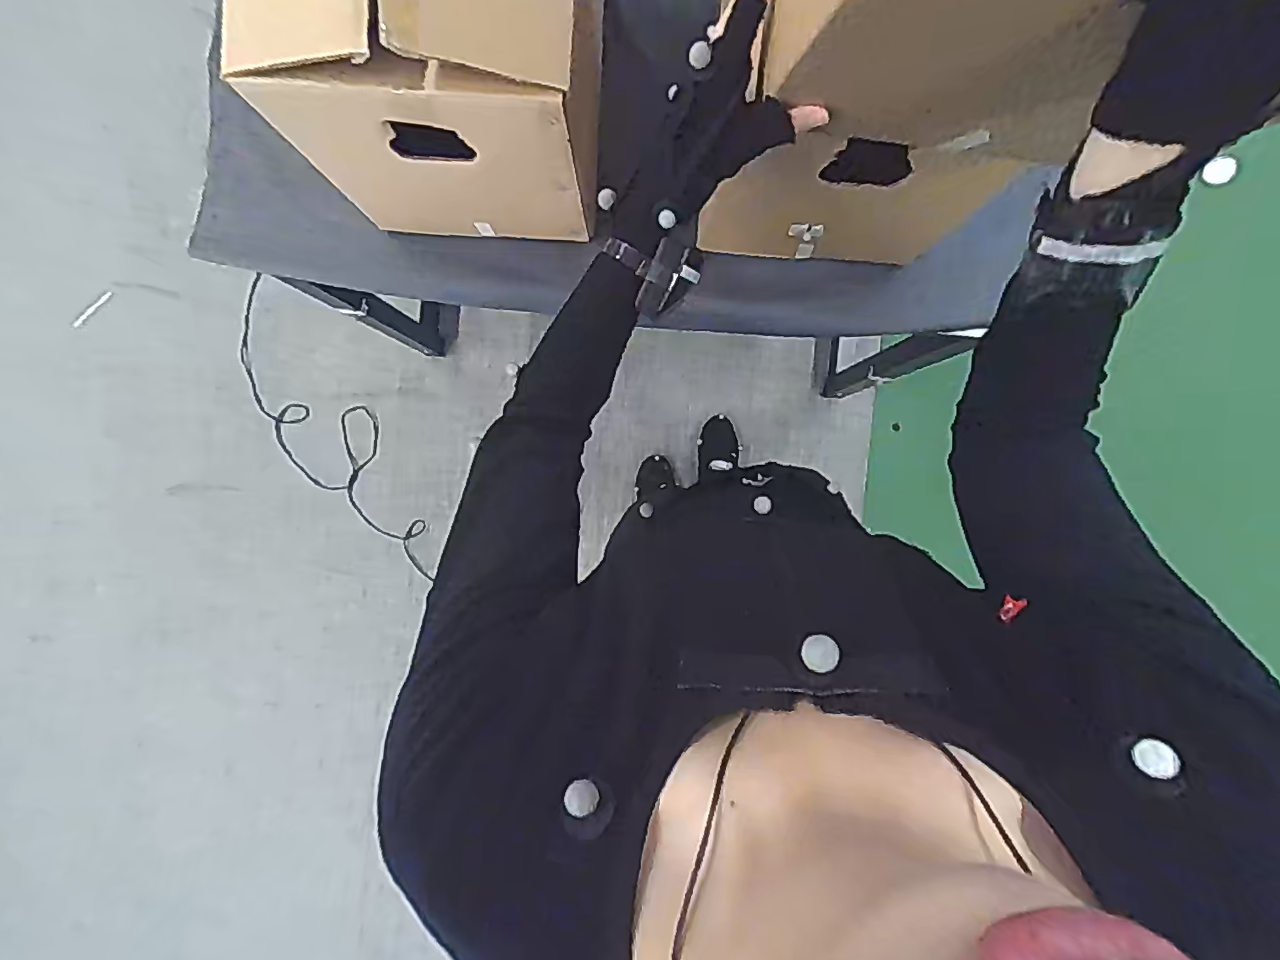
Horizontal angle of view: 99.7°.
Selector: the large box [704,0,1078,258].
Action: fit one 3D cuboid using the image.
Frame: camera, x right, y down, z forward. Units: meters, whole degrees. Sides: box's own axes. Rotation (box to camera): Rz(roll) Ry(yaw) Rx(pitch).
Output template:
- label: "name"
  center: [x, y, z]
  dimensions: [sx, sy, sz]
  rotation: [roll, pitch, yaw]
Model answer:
- label: "large box"
  center: [0.246, -0.520, 0.632]
  dimensions: [0.320, 0.320, 0.408]
  rotation: [4, 89, 1]
